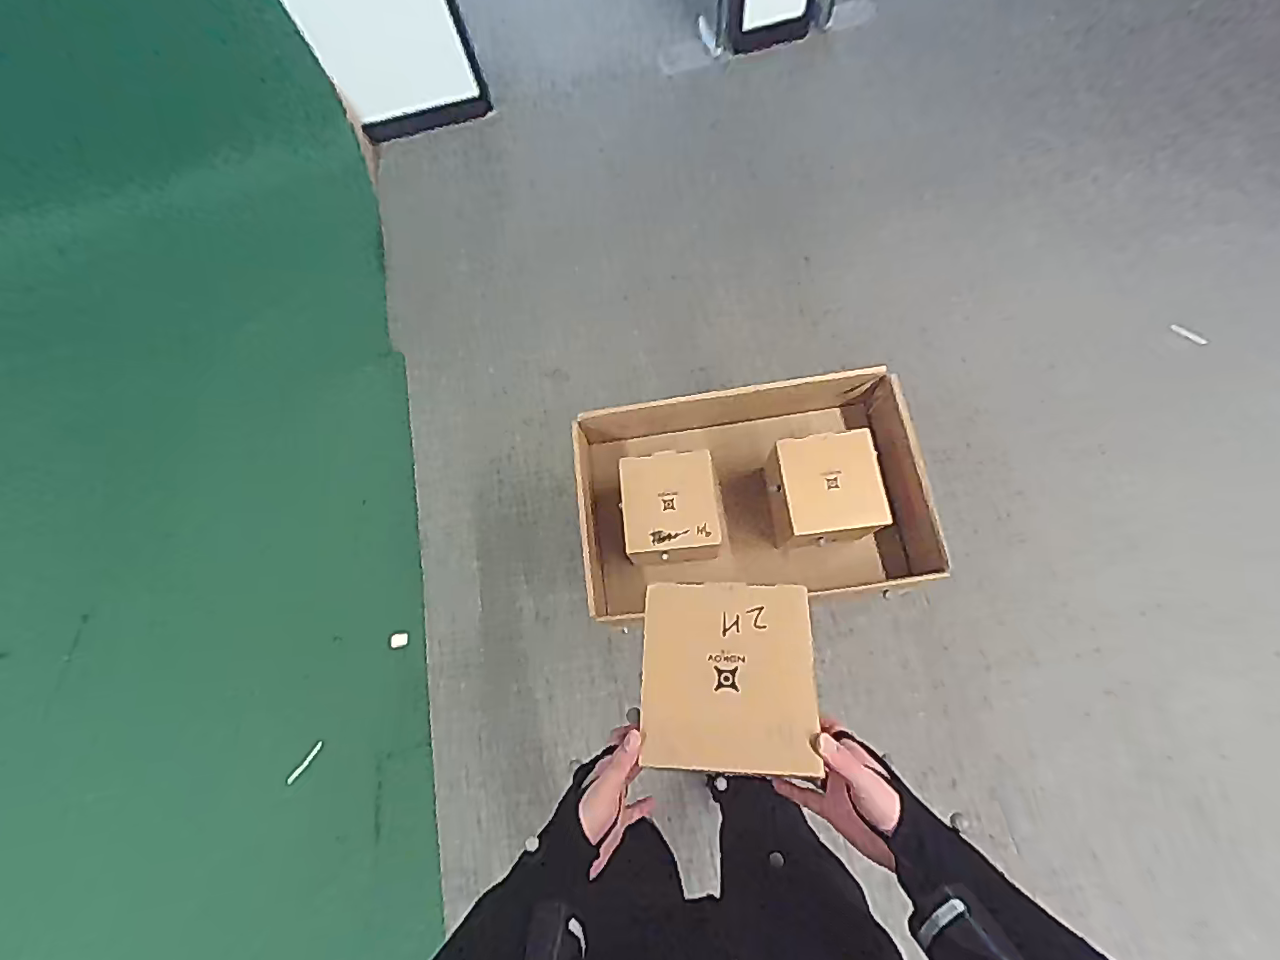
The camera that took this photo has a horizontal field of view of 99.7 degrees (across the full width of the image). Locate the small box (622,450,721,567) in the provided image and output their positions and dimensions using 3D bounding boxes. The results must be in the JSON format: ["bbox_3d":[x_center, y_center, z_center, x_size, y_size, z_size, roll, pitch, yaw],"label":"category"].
[{"bbox_3d":[0.059,0.060,1.016,0.168,0.176,0.179,-6,72,5],"label":"small box"}]

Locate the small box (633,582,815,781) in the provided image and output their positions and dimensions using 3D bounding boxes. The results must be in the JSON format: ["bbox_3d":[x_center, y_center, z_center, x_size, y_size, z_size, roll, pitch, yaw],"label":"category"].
[{"bbox_3d":[0.089,0.223,0.591,0.168,0.176,0.179,1,61,6],"label":"small box"}]

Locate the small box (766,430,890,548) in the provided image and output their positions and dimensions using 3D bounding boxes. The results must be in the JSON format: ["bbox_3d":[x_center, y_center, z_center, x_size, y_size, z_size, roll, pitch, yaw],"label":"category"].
[{"bbox_3d":[0.336,0.027,1.002,0.168,0.176,0.179,-8,72,4],"label":"small box"}]
